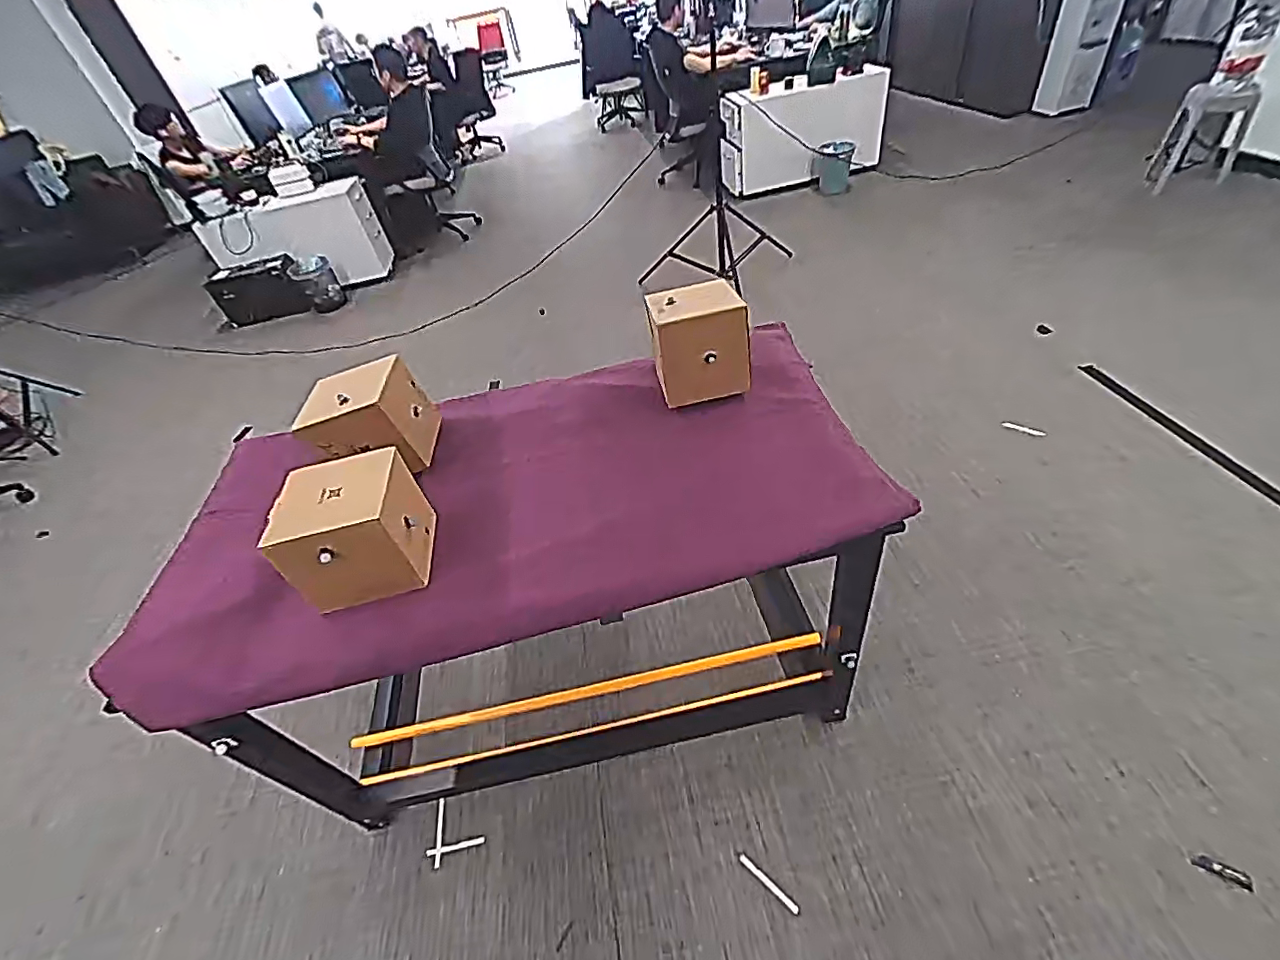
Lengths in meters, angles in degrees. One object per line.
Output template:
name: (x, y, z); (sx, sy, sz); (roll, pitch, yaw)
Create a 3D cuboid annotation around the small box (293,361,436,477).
small box: (-0.515, -0.106, 1.046); (0.179, 0.168, 0.176); (-16, 42, 6)

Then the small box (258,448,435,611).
small box: (-0.443, 0.080, 0.855); (0.179, 0.176, 0.168); (-14, 43, -2)
